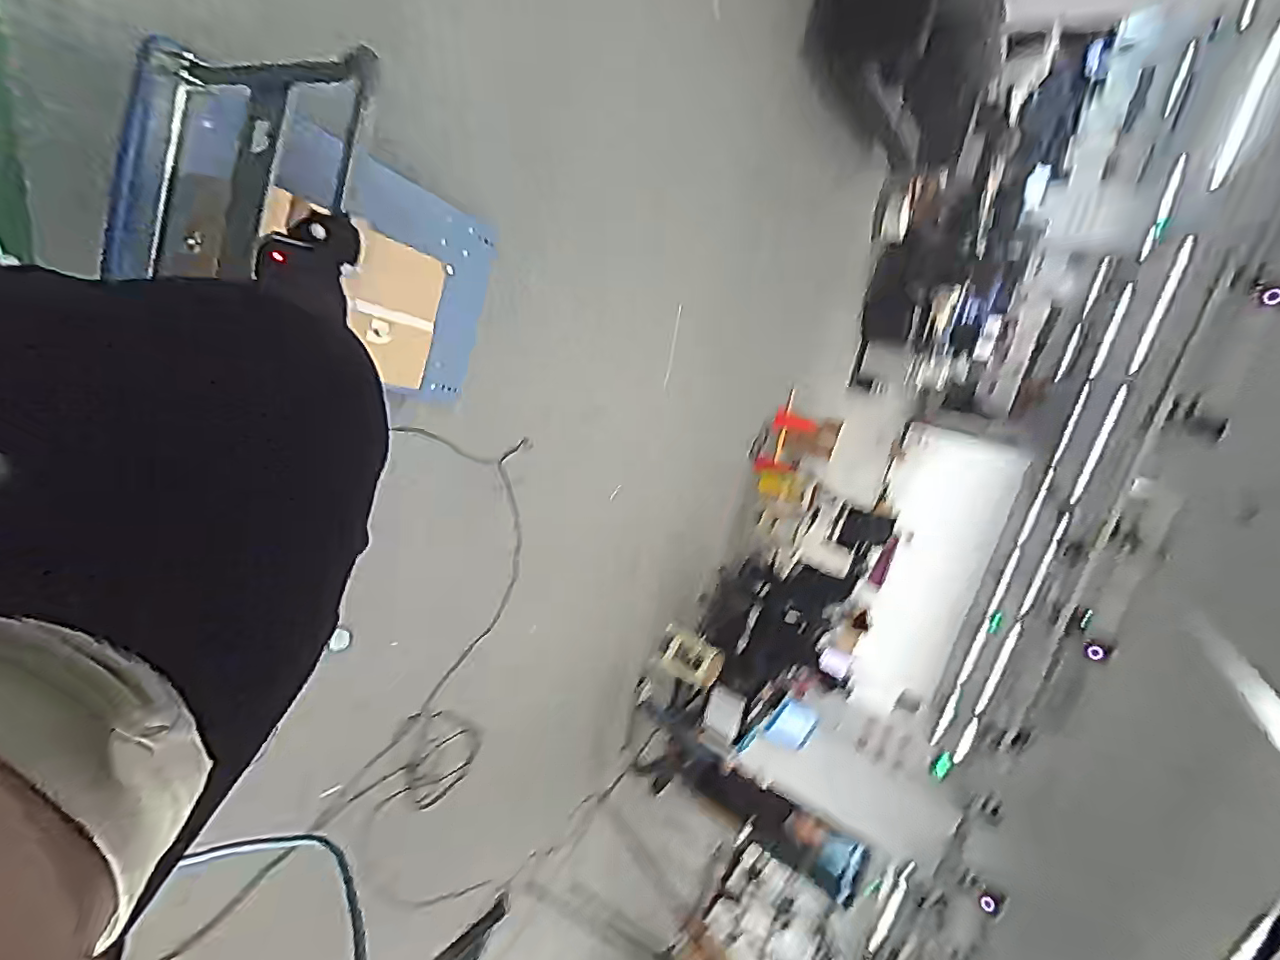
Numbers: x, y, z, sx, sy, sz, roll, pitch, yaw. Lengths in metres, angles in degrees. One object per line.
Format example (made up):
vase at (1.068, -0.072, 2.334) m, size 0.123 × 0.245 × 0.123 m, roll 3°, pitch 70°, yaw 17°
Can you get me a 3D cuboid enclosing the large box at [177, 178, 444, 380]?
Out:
large box at (-0.732, -0.436, 1.224) m, size 0.408 × 0.320 × 0.320 m, roll 1°, pitch 107°, yaw -59°
